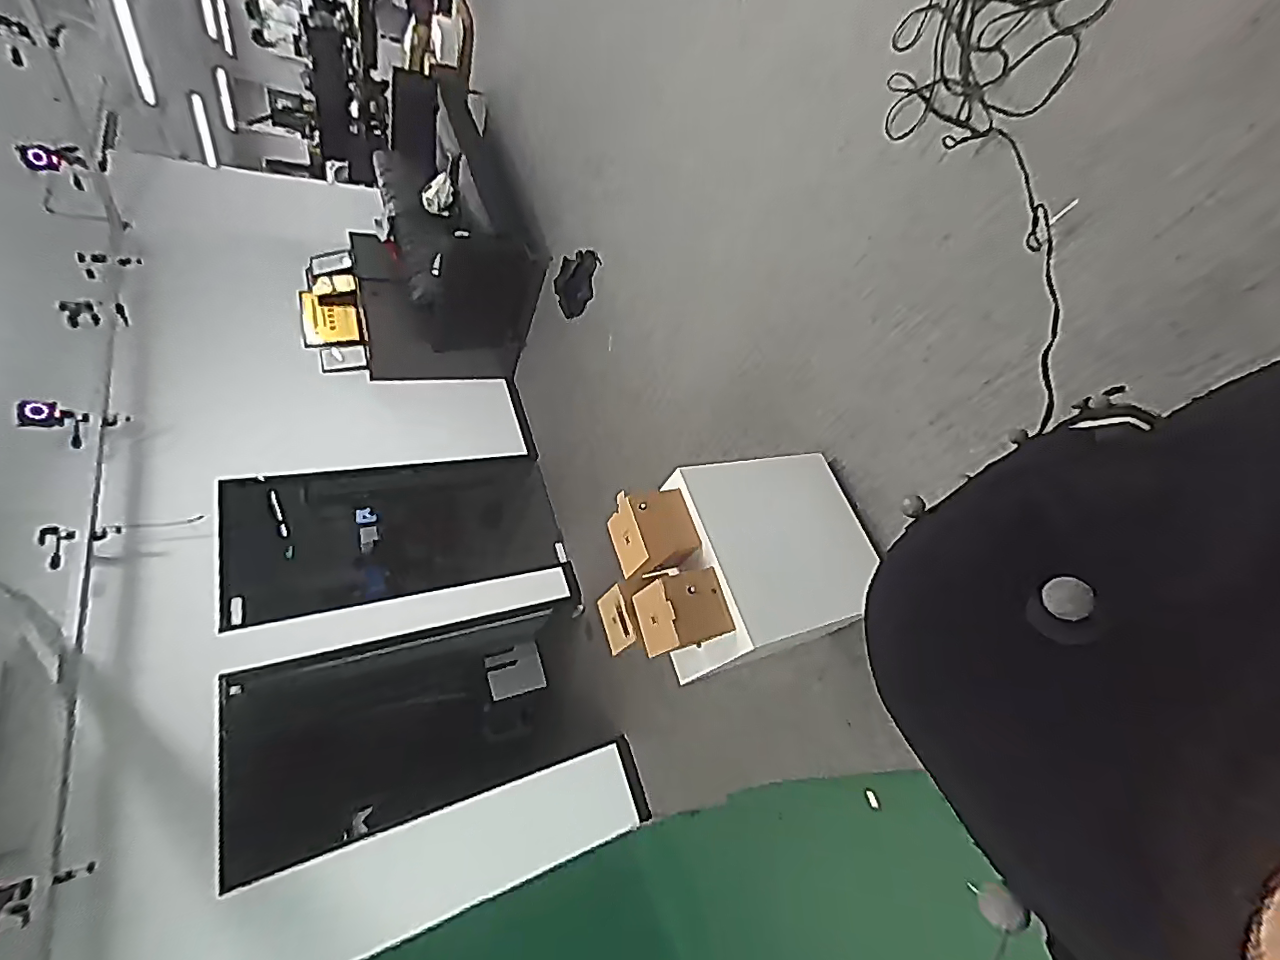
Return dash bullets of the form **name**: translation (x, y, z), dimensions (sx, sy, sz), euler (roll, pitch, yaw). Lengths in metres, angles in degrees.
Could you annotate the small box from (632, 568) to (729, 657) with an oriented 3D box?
- **small box**: translation (0.106, 0.333, 1.369), dimensions (0.179, 0.176, 0.168), euler (-50, 52, 54)
